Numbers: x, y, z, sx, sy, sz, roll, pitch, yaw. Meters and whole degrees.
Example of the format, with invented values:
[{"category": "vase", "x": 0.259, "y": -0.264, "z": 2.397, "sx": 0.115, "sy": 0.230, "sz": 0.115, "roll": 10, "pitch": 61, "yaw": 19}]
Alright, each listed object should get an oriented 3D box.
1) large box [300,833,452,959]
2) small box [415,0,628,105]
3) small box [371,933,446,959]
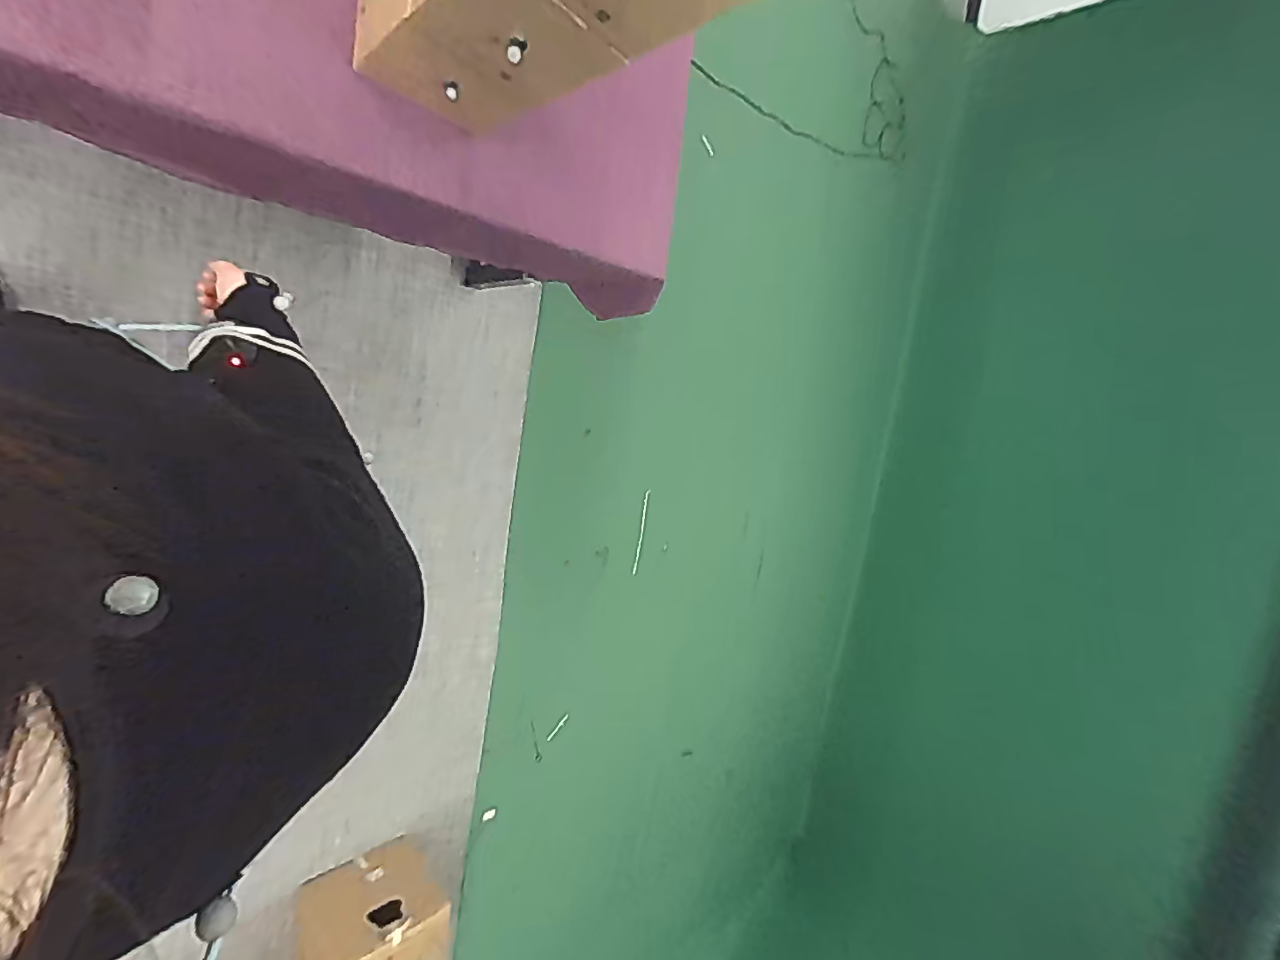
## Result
[{"category": "large box", "x": -0.783, "y": 1.373, "z": 1.590, "sx": 0.320, "sy": 0.320, "sz": 0.408, "roll": -1, "pitch": 102, "yaw": -46}, {"category": "small box", "x": -0.111, "y": -0.528, "z": 0.549, "sx": 0.168, "sy": 0.176, "sz": 0.179, "roll": 6, "pitch": 97, "yaw": -47}, {"category": "small box", "x": -0.607, "y": 1.336, "z": 1.401, "sx": 0.168, "sy": 0.176, "sz": 0.179, "roll": 4, "pitch": 99, "yaw": -46}]
